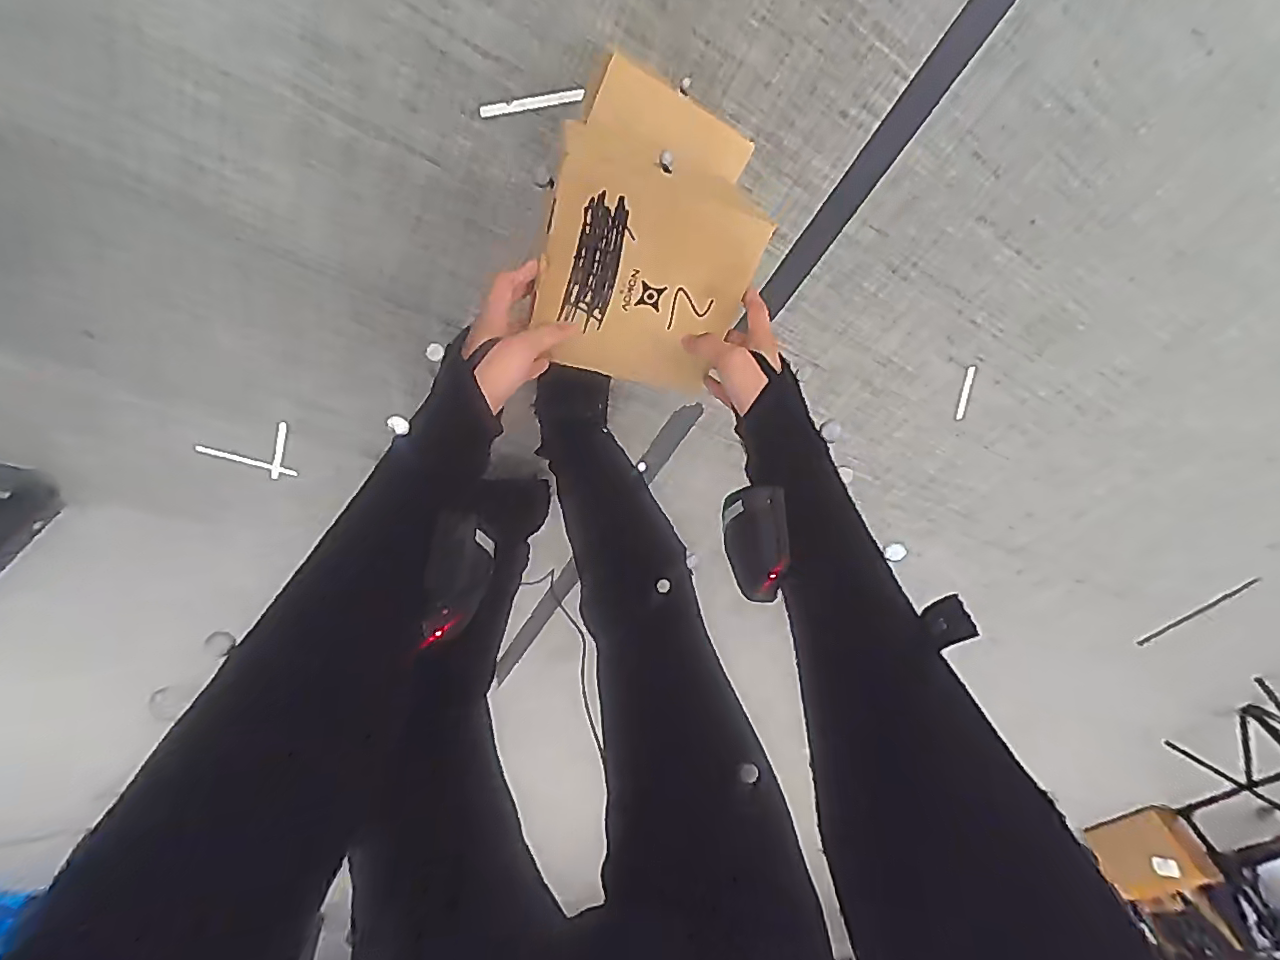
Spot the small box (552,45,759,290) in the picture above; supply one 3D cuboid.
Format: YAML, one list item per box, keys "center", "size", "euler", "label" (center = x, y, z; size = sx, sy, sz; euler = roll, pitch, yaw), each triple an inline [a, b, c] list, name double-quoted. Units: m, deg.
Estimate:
- center: [0.005, -0.362, 0.627]
  size: [0.168, 0.176, 0.179]
  euler: [19, 127, -22]
  label: "small box"
